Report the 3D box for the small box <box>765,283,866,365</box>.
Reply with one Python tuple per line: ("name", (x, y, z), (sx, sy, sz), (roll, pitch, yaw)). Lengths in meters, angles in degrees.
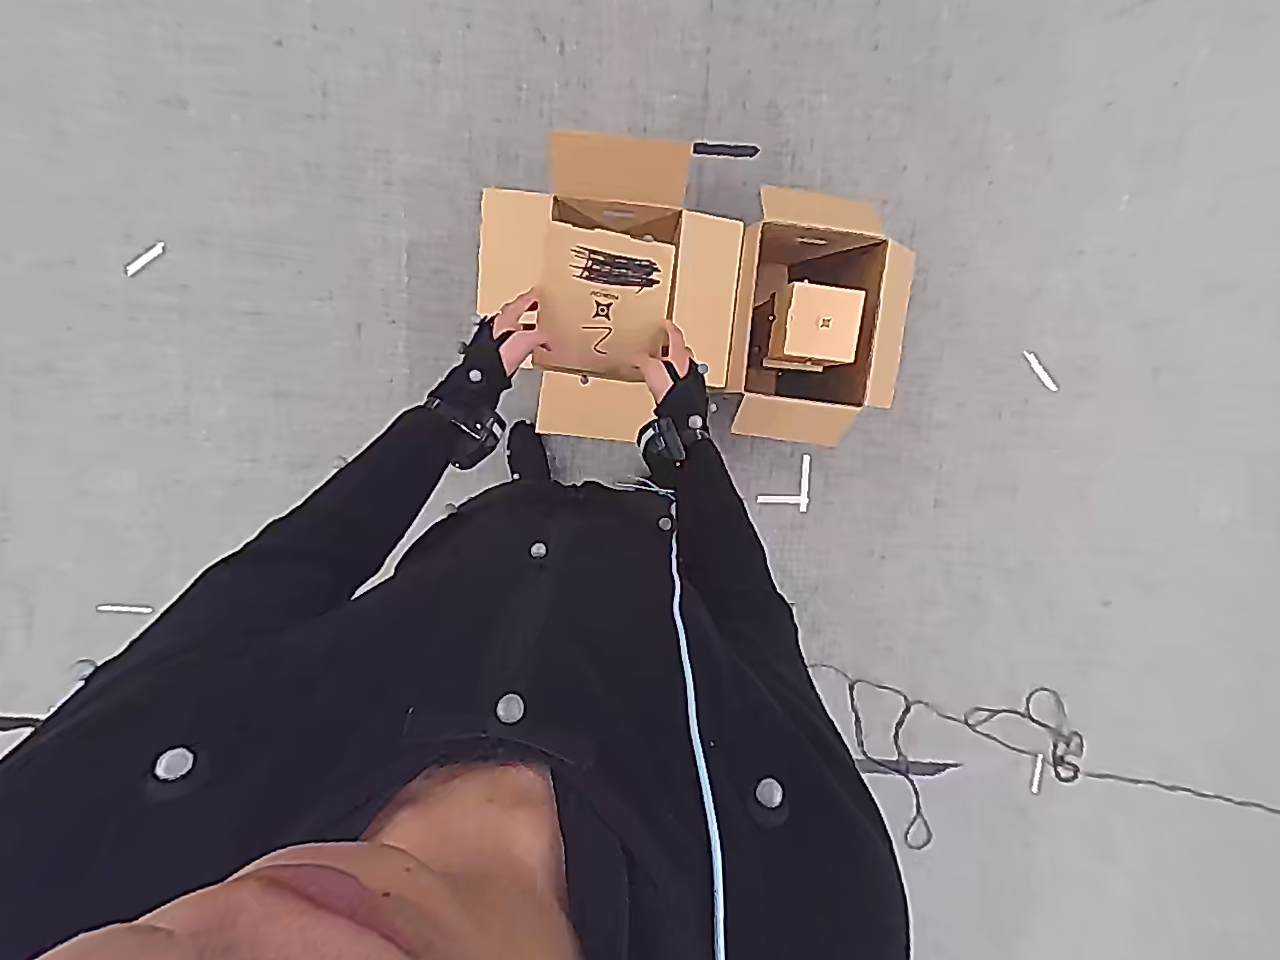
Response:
("small box", (0.425, -0.378, 1.334), (0.179, 0.176, 0.168), (6, 99, -4))
